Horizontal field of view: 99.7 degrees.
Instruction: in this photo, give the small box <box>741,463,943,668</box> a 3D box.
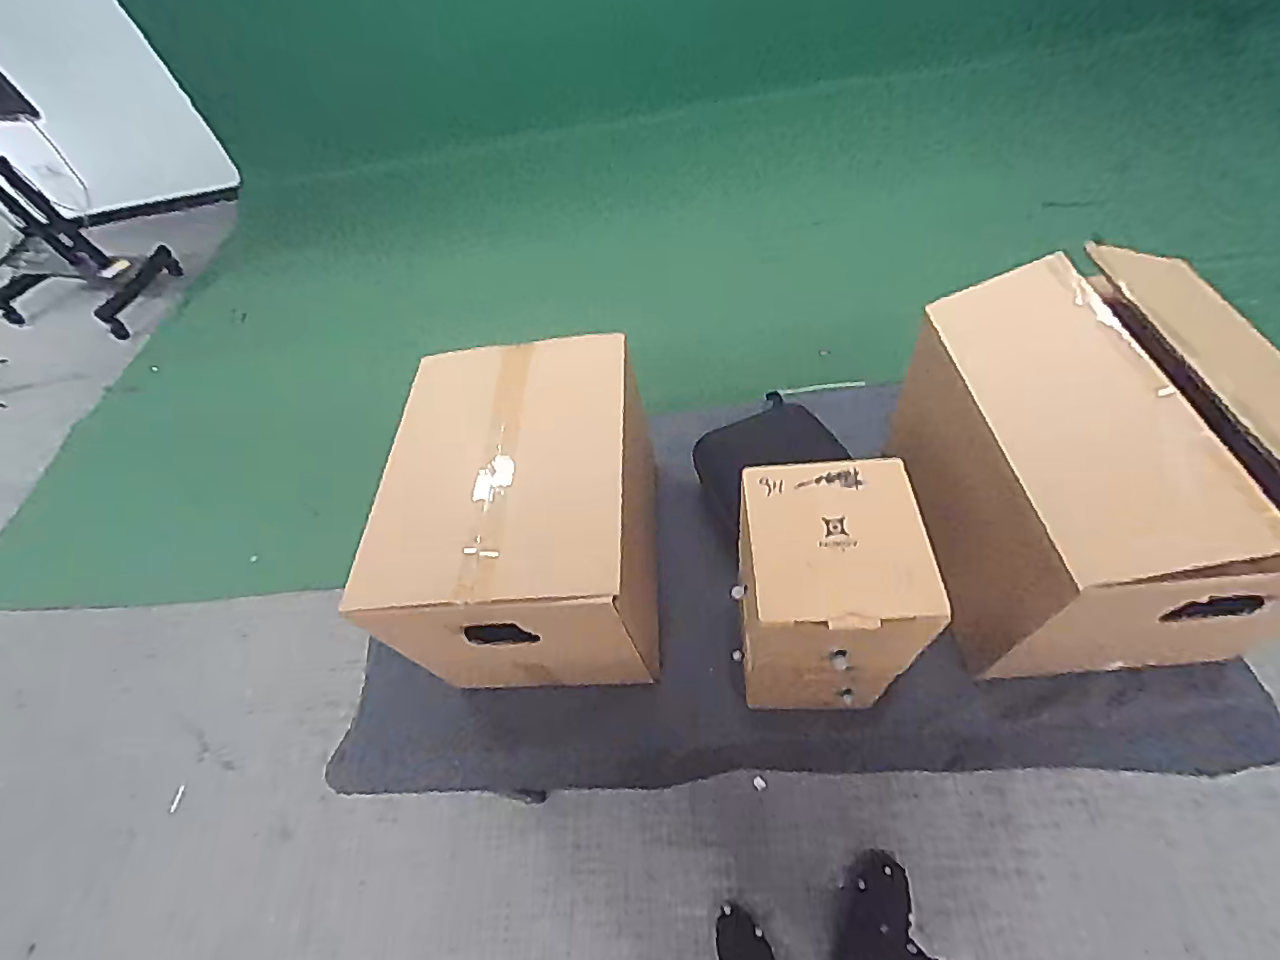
[{"bbox_3d":[0.201,0.103,0.596,0.168,0.176,0.179,-4,56,7],"label":"small box"}]
